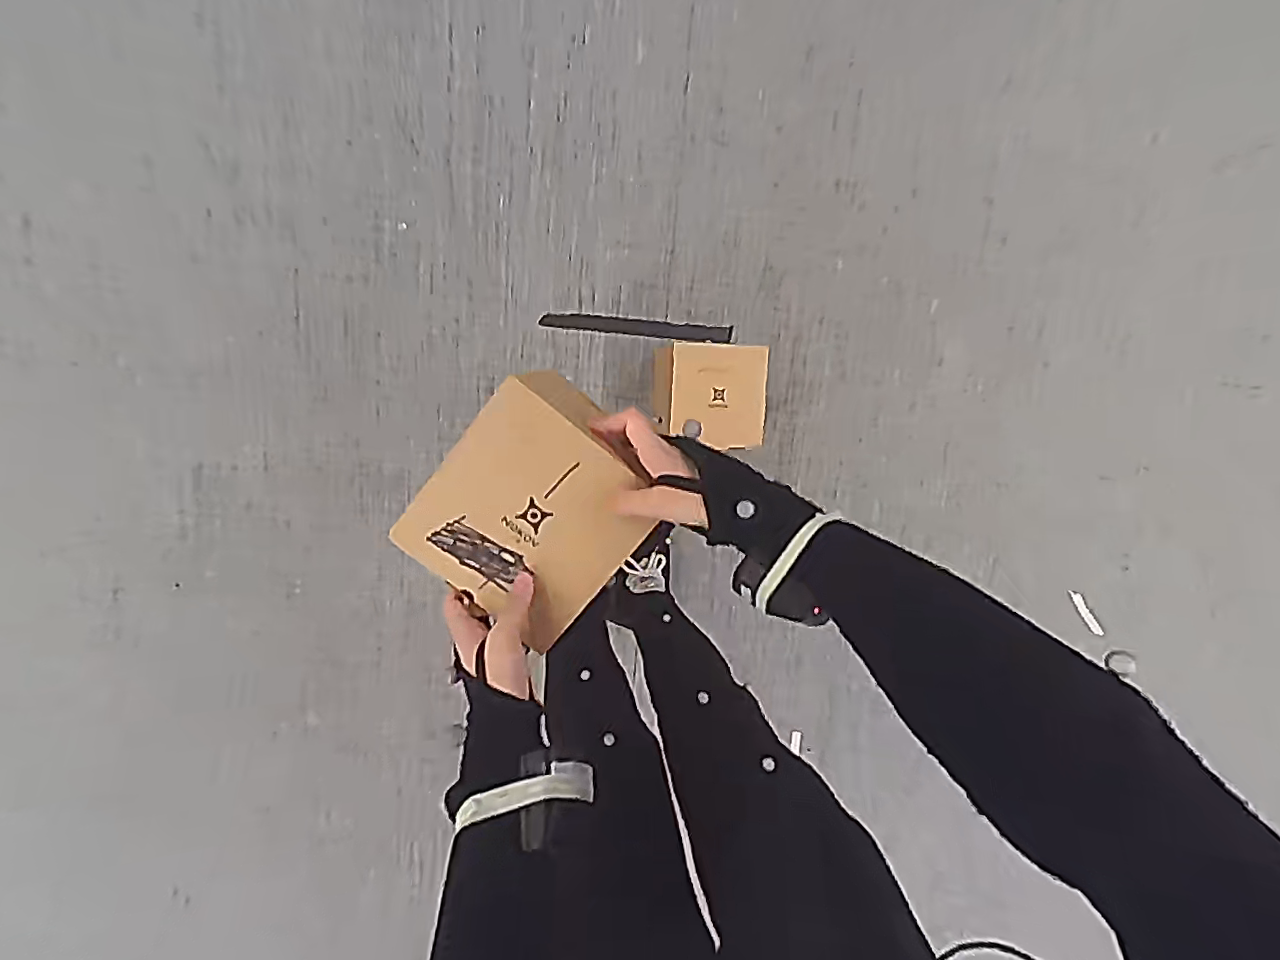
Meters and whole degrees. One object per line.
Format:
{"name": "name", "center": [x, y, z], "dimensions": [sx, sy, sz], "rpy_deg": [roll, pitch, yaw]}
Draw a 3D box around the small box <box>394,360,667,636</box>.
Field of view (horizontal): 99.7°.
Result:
{"name": "small box", "center": [-0.087, 0.004, 0.518], "dimensions": [0.168, 0.176, 0.179], "rpy_deg": [38, 101, -7]}
